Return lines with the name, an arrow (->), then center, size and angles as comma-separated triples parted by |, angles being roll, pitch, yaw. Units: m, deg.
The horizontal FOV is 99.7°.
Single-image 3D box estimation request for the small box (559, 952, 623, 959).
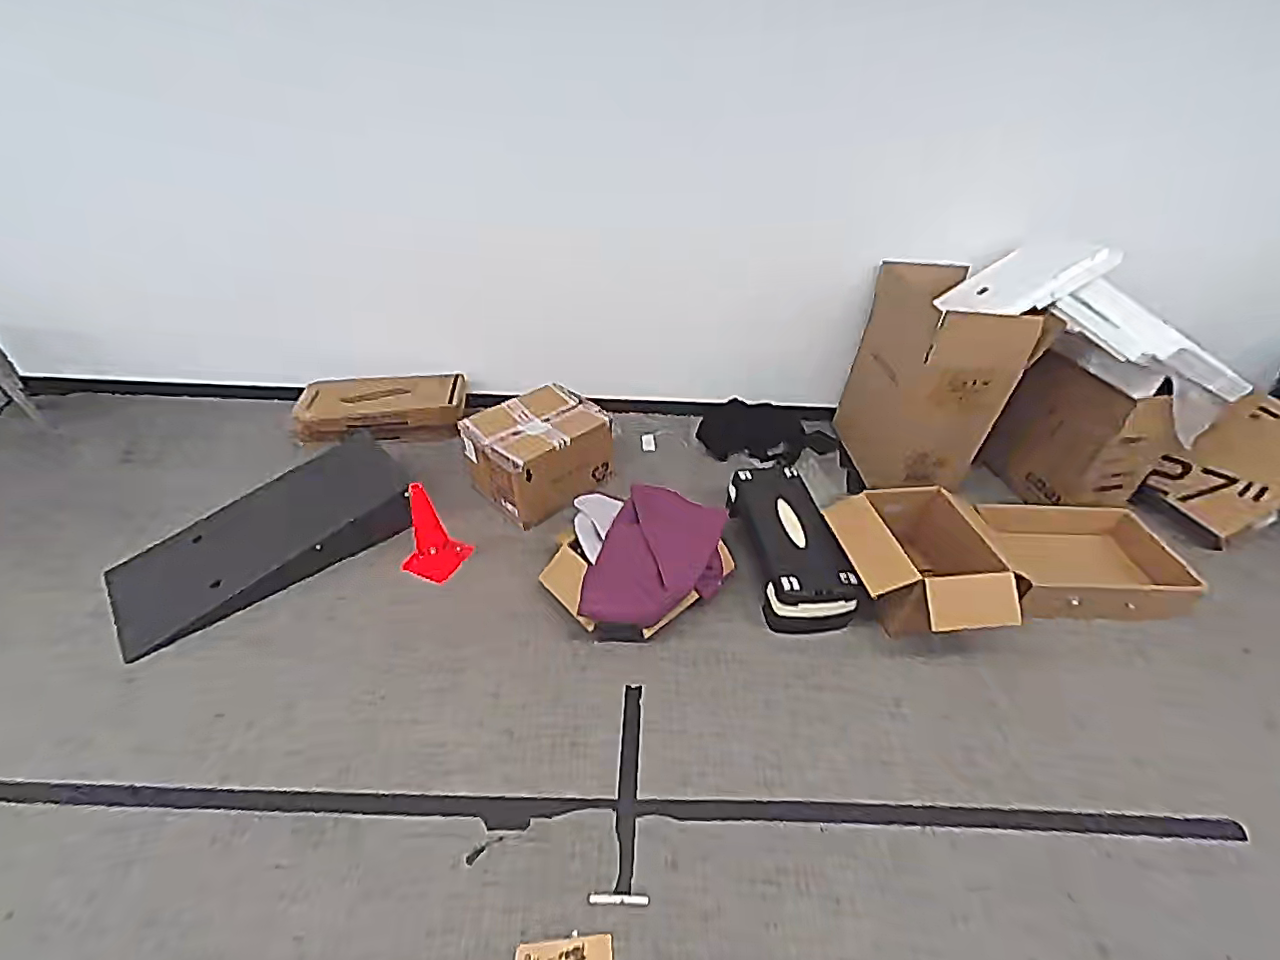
small box -> -0.101, 0.870, 0.838 | 0.168, 0.176, 0.179 | -3, 40, -5
